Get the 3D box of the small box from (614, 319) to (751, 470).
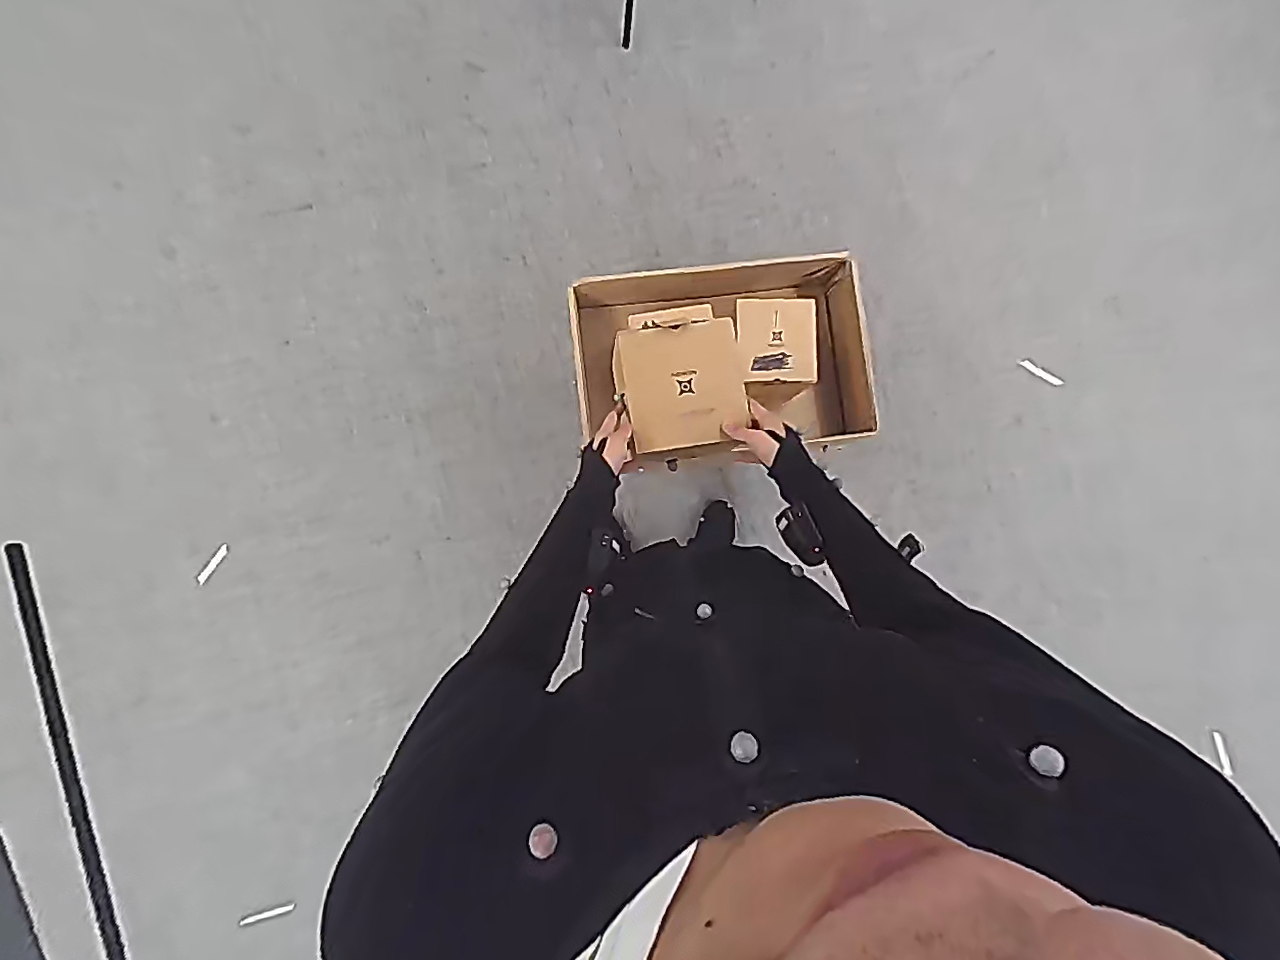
[{"bbox_3d":[0.054,-0.120,0.819,0.168,0.176,0.179,-9,85,-5],"label":"small box"}]
